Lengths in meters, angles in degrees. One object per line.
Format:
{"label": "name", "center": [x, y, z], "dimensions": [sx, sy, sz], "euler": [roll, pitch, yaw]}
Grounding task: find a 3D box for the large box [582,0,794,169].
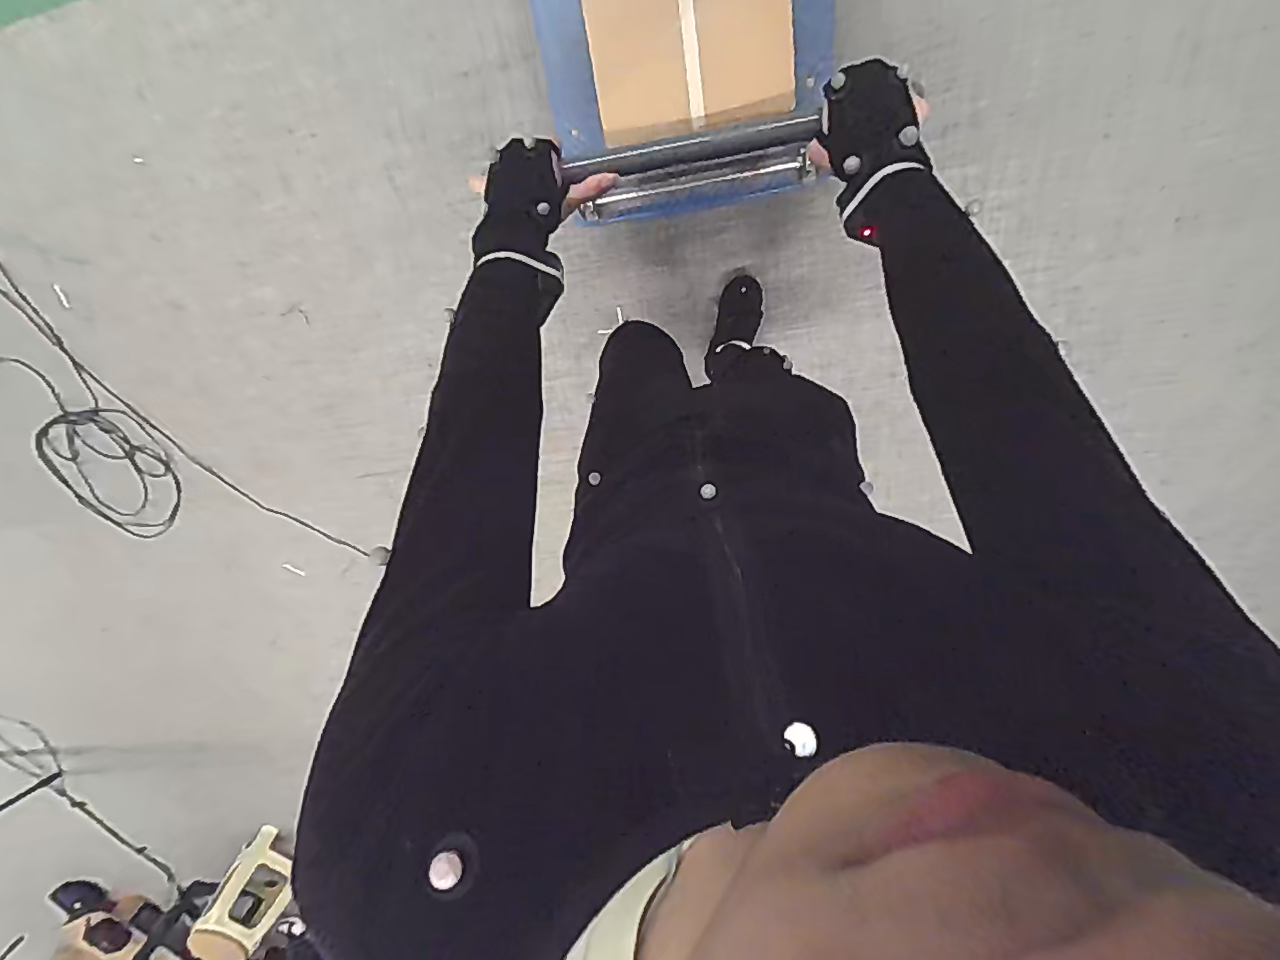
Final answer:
{"label": "large box", "center": [0.081, -0.813, 0.945], "dimensions": [0.320, 0.320, 0.408], "euler": [-6, 113, 10]}
